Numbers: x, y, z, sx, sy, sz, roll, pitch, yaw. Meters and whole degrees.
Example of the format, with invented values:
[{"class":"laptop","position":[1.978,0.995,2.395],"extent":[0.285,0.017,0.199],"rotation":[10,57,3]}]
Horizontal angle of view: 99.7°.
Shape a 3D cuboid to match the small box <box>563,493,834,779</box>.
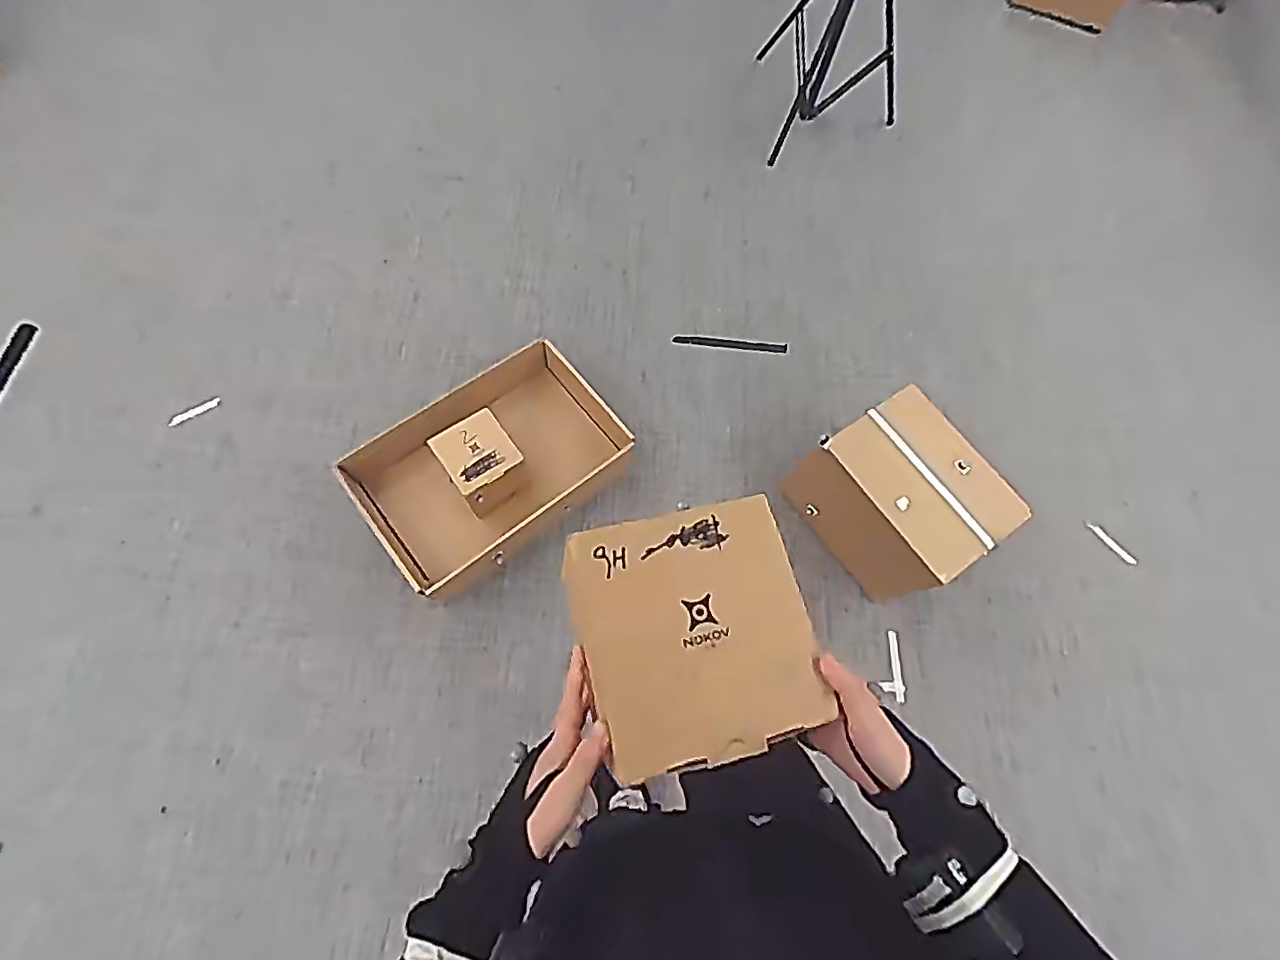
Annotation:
[{"class":"small box","position":[0.031,0.129,0.470],"extent":[0.168,0.176,0.179],"rotation":[-10,72,-15]}]
